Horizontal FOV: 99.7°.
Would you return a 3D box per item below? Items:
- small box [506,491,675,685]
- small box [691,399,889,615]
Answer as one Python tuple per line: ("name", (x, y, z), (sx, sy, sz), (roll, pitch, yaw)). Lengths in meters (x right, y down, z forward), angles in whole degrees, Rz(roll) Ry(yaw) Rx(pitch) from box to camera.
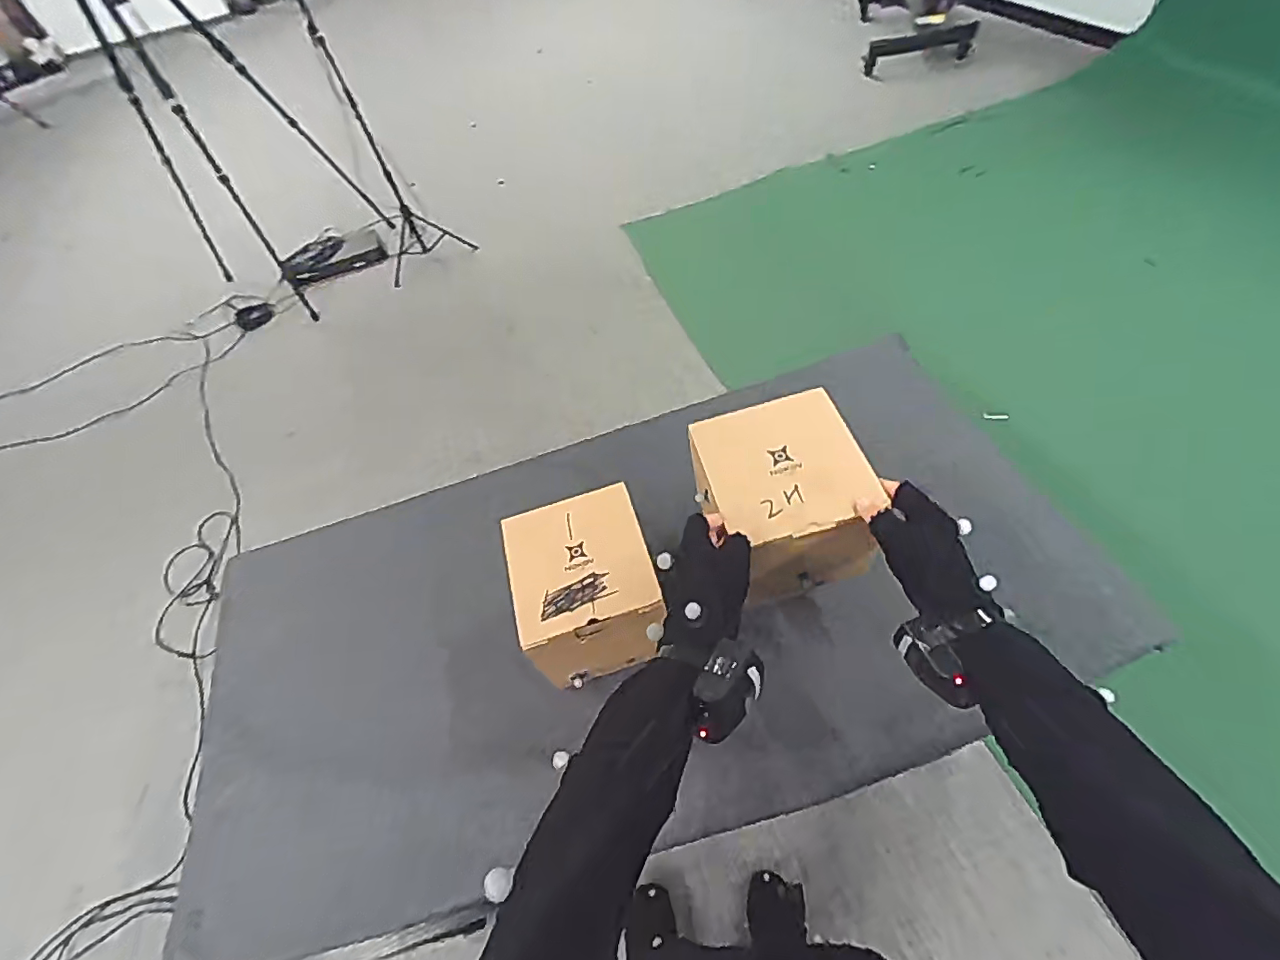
("small box", (-0.059, 0.149, 0.703), (0.168, 0.176, 0.179), (-17, 53, -3))
("small box", (0.167, 0.037, 0.654), (0.168, 0.176, 0.179), (-16, 54, 1))
